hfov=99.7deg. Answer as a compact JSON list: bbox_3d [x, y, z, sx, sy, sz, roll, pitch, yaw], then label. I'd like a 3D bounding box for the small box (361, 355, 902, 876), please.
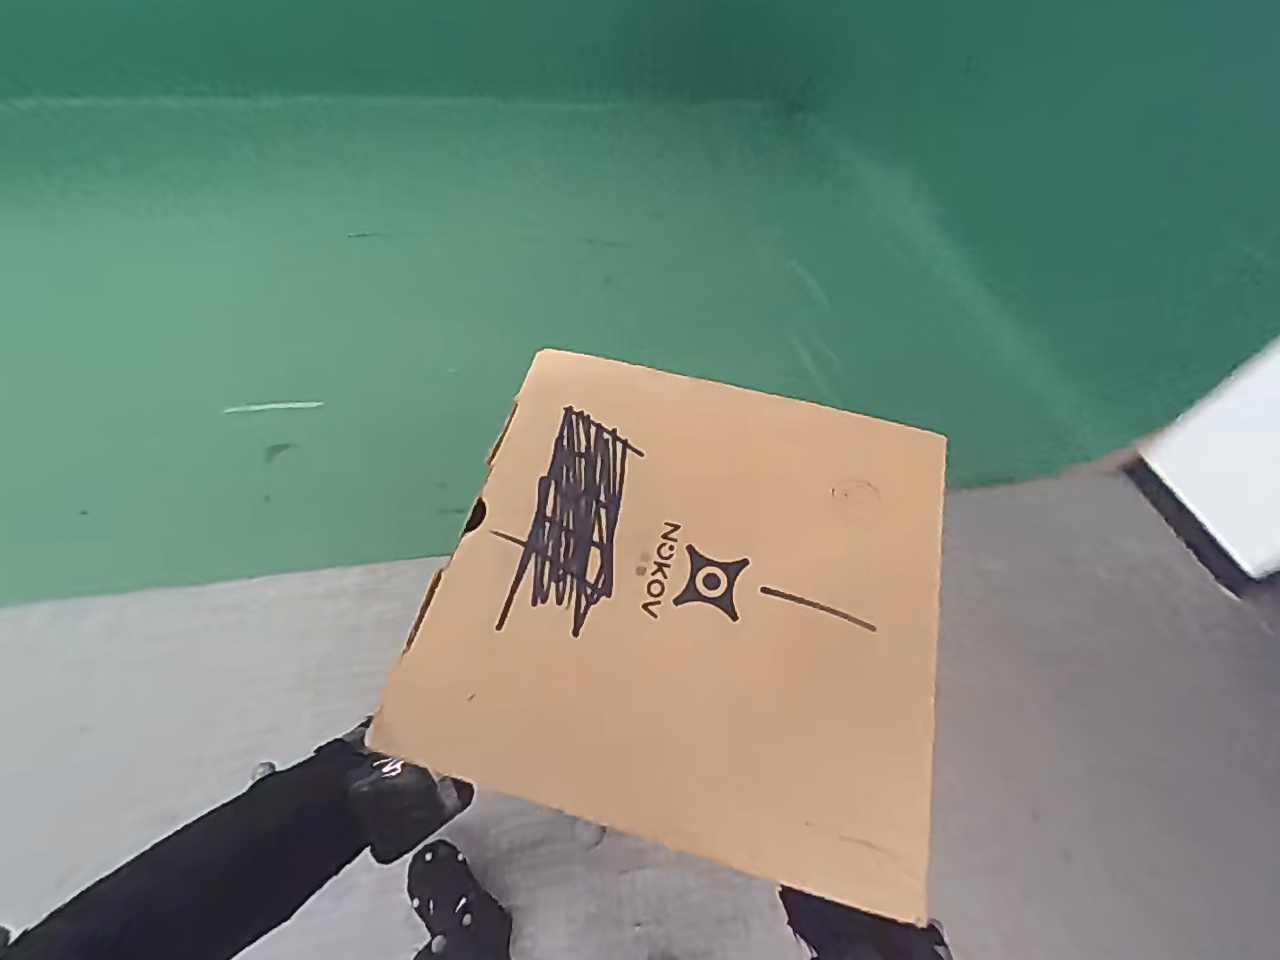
[{"bbox_3d":[0.008,0.066,0.278,0.179,0.176,0.168,13,65,6],"label":"small box"}]
